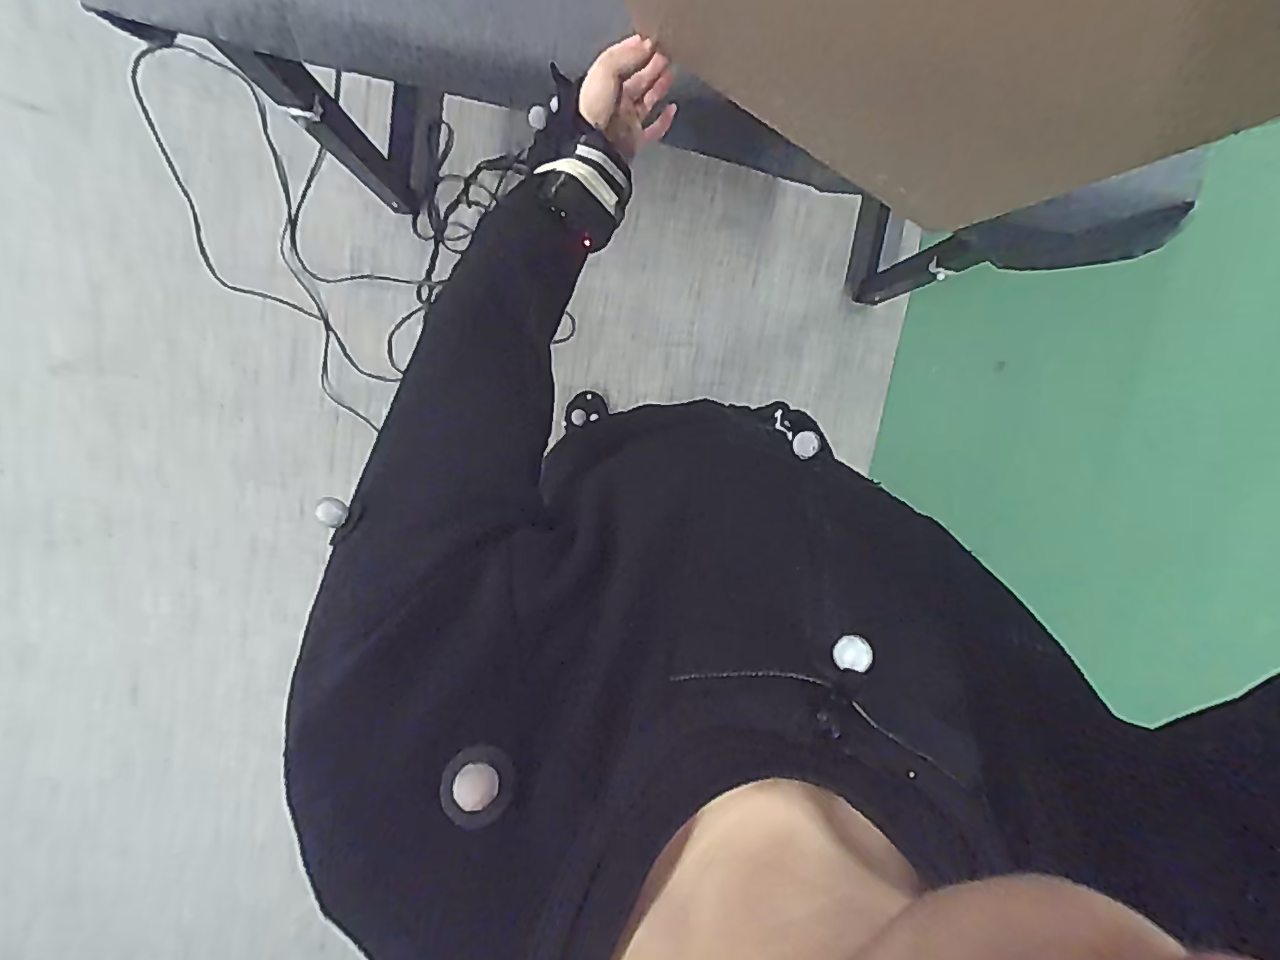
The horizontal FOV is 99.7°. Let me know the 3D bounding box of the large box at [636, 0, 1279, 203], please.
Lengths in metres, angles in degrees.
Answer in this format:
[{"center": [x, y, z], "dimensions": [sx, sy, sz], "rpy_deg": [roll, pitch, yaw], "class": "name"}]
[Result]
[{"center": [0.163, -0.369, 0.233], "dimensions": [0.320, 0.408, 0.320], "rpy_deg": [33, 113, -2], "class": "large box"}]
